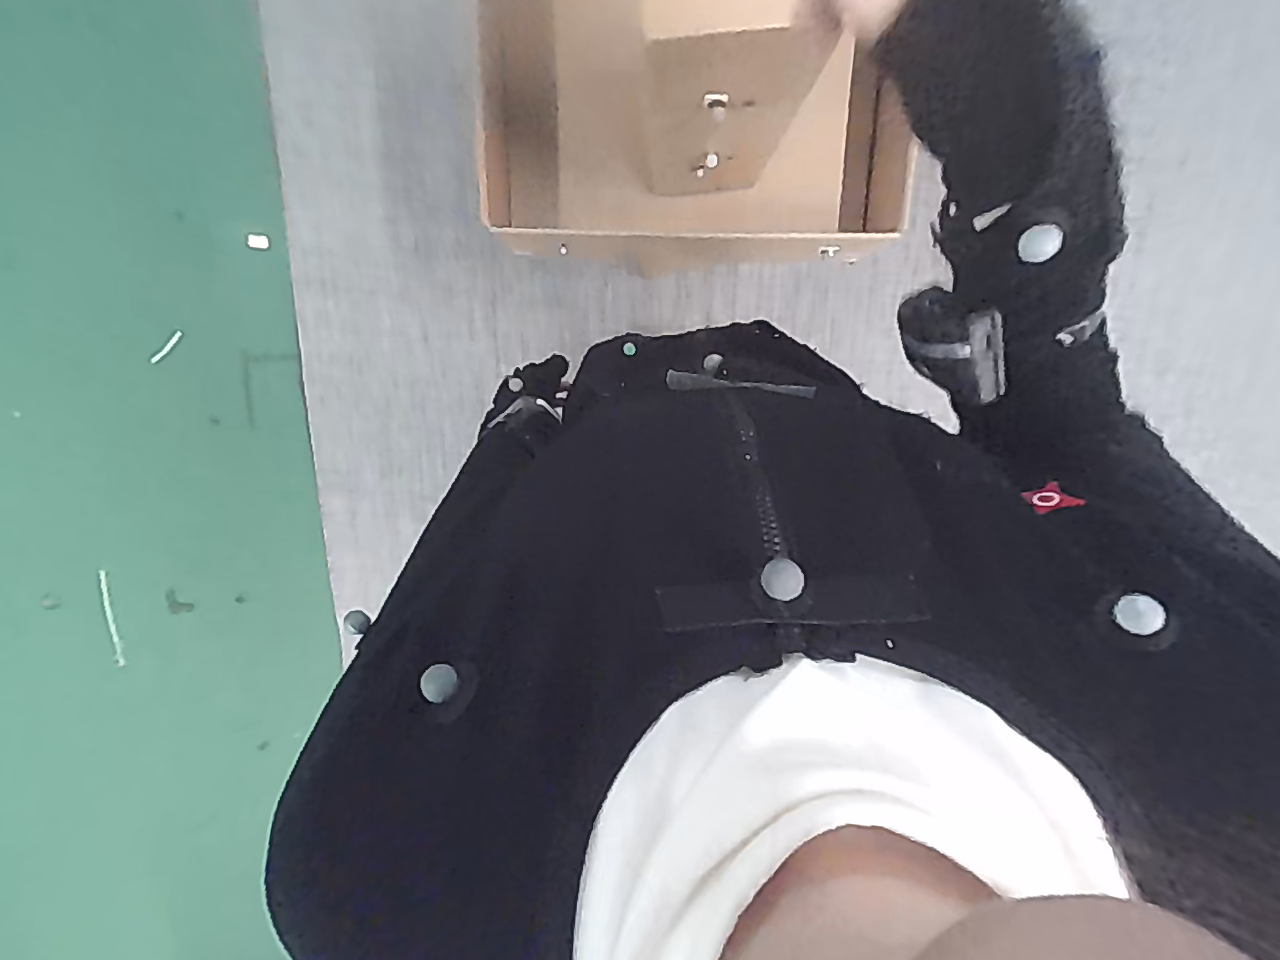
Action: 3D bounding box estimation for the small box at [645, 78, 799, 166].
[{"bbox_3d":[0.088,-0.500,0.642,0.168,0.176,0.179,-3,105,3],"label":"small box"}]

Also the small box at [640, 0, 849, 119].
[{"bbox_3d":[0.082,-0.460,0.485,0.168,0.176,0.179,-3,105,4],"label":"small box"}]

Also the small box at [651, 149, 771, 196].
[{"bbox_3d":[0.097,-0.544,0.799,0.168,0.176,0.179,-3,103,5],"label":"small box"}]
